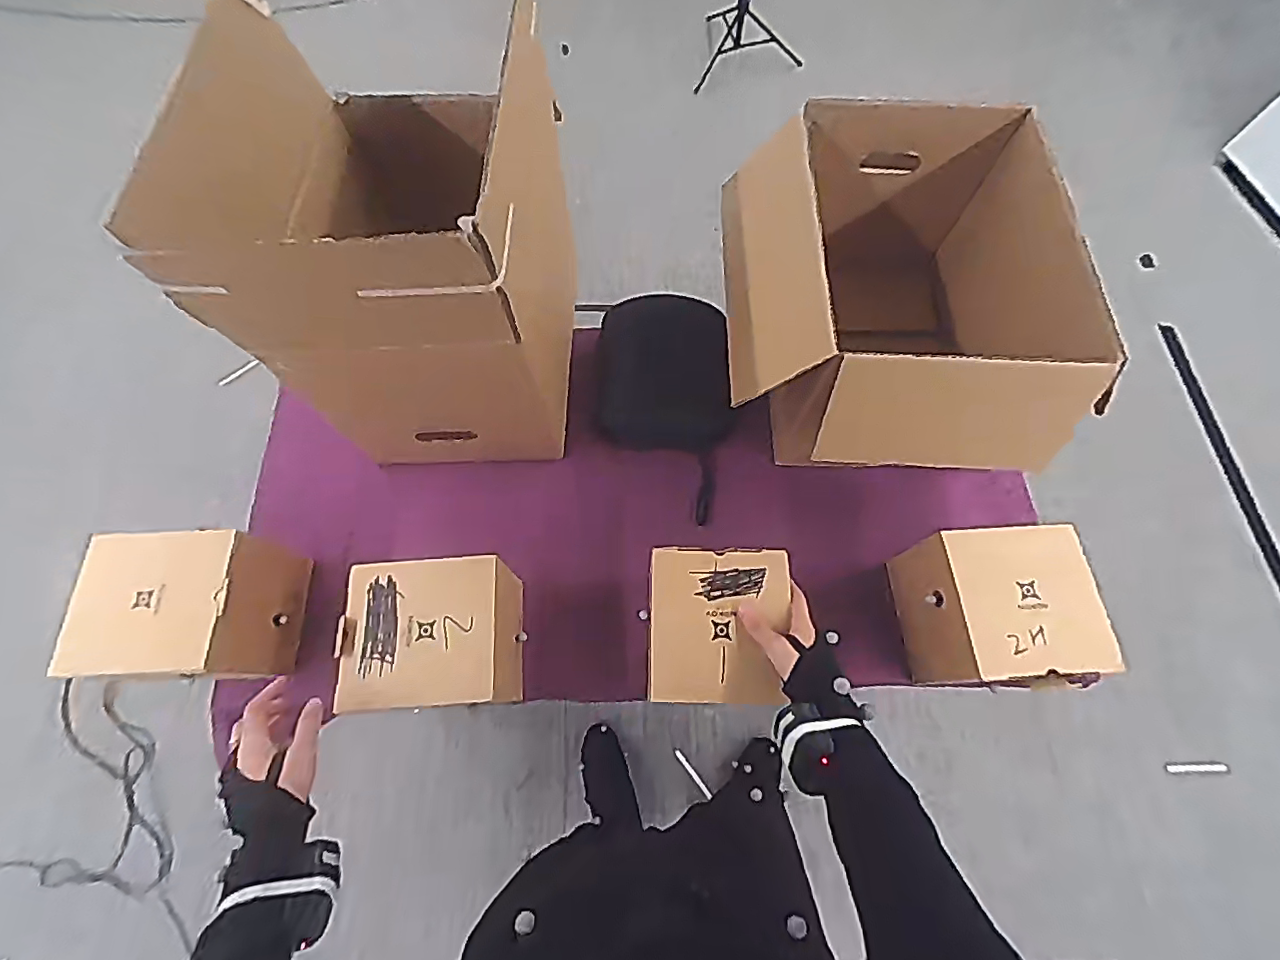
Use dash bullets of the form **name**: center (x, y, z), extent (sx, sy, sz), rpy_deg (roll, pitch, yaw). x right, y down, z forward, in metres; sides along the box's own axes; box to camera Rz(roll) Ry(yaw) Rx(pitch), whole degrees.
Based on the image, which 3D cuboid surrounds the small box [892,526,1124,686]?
- **small box**: center (0.454, 0.170, 0.704), extent (0.168, 0.176, 0.179), rpy_deg (-3, 68, 0)

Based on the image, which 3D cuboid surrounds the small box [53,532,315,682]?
- **small box**: center (-0.570, 0.172, 0.706), extent (0.179, 0.176, 0.168), rpy_deg (-2, 68, -2)
